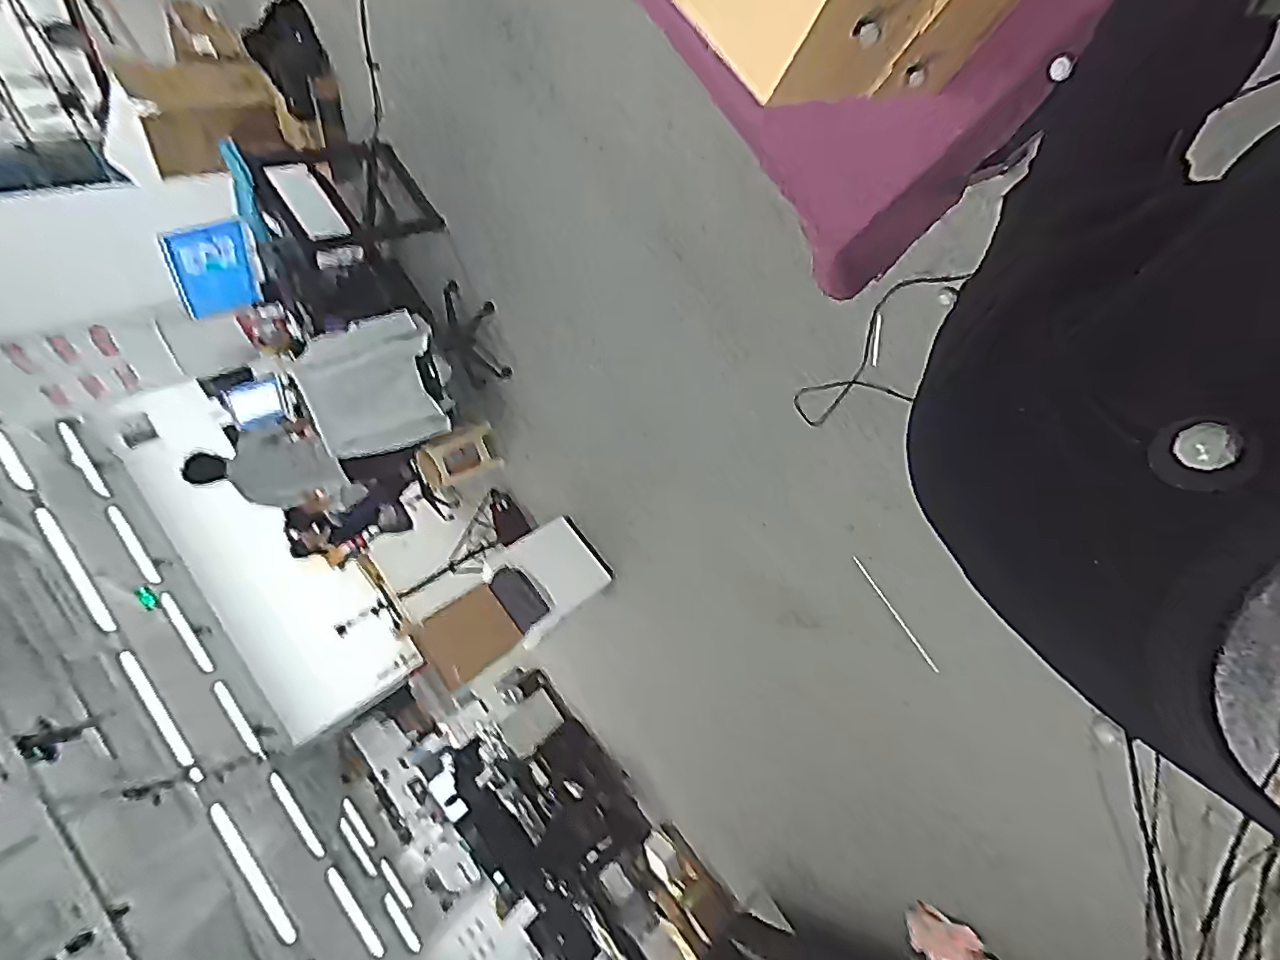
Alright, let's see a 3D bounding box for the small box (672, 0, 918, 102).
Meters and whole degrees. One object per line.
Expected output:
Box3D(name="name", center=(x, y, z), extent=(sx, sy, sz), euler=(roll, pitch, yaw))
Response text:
Box3D(name="small box", center=(0.137, -0.441, 0.425), extent=(0.179, 0.176, 0.168), euler=(55, 146, 8))
